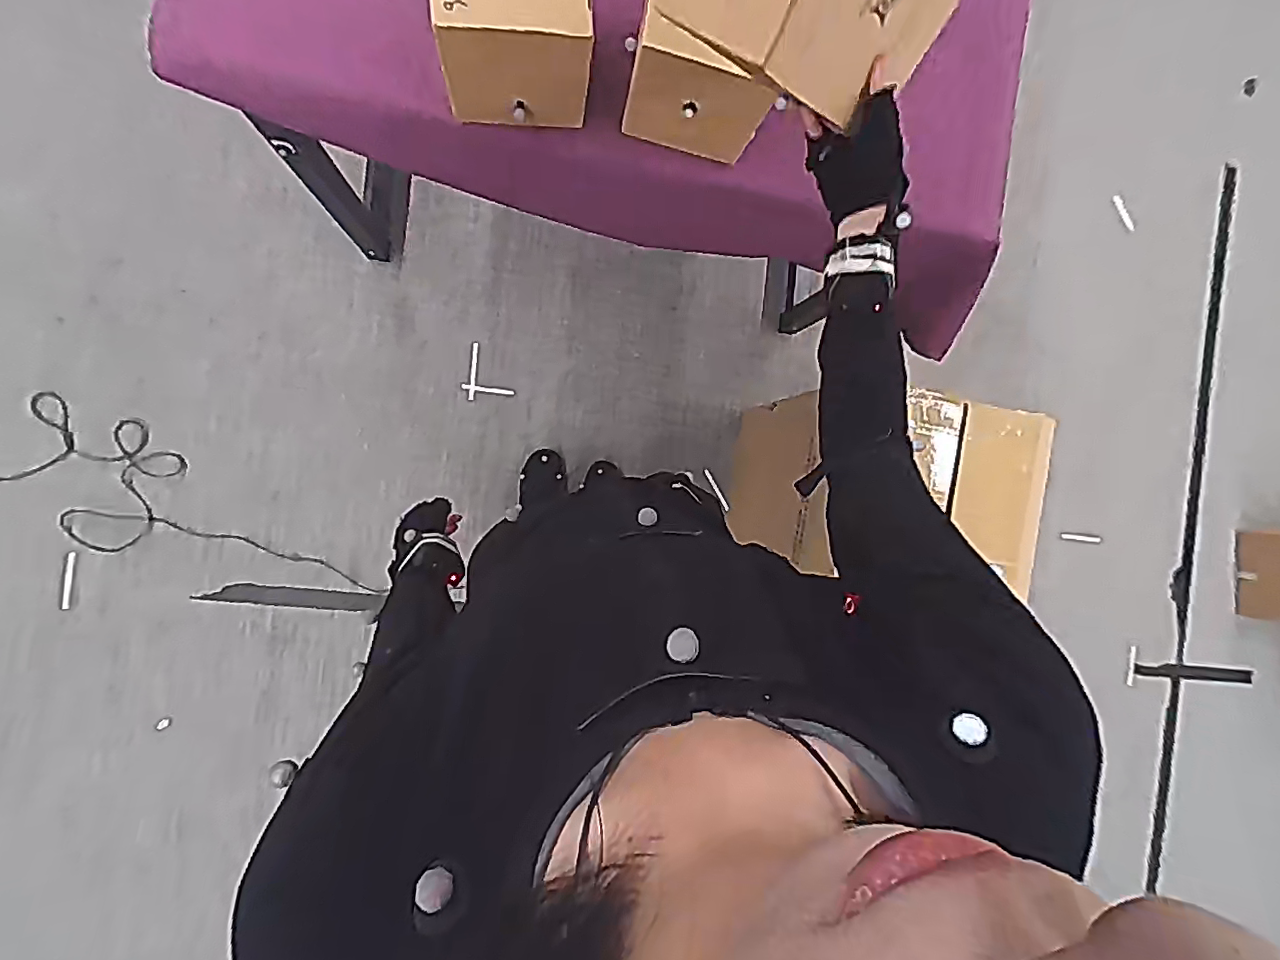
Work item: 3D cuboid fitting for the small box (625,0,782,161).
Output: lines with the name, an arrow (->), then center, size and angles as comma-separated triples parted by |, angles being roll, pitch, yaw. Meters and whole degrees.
small box -> 0.088, -0.560, 0.714 | 0.179, 0.176, 0.168 | 11, 88, -9

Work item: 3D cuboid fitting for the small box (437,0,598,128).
small box -> -0.153, -0.571, 0.672 | 0.179, 0.176, 0.168 | -4, 91, -11

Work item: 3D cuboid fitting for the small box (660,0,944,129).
small box -> 0.146, -0.448, 0.466 | 0.179, 0.168, 0.176 | -6, 49, -40
